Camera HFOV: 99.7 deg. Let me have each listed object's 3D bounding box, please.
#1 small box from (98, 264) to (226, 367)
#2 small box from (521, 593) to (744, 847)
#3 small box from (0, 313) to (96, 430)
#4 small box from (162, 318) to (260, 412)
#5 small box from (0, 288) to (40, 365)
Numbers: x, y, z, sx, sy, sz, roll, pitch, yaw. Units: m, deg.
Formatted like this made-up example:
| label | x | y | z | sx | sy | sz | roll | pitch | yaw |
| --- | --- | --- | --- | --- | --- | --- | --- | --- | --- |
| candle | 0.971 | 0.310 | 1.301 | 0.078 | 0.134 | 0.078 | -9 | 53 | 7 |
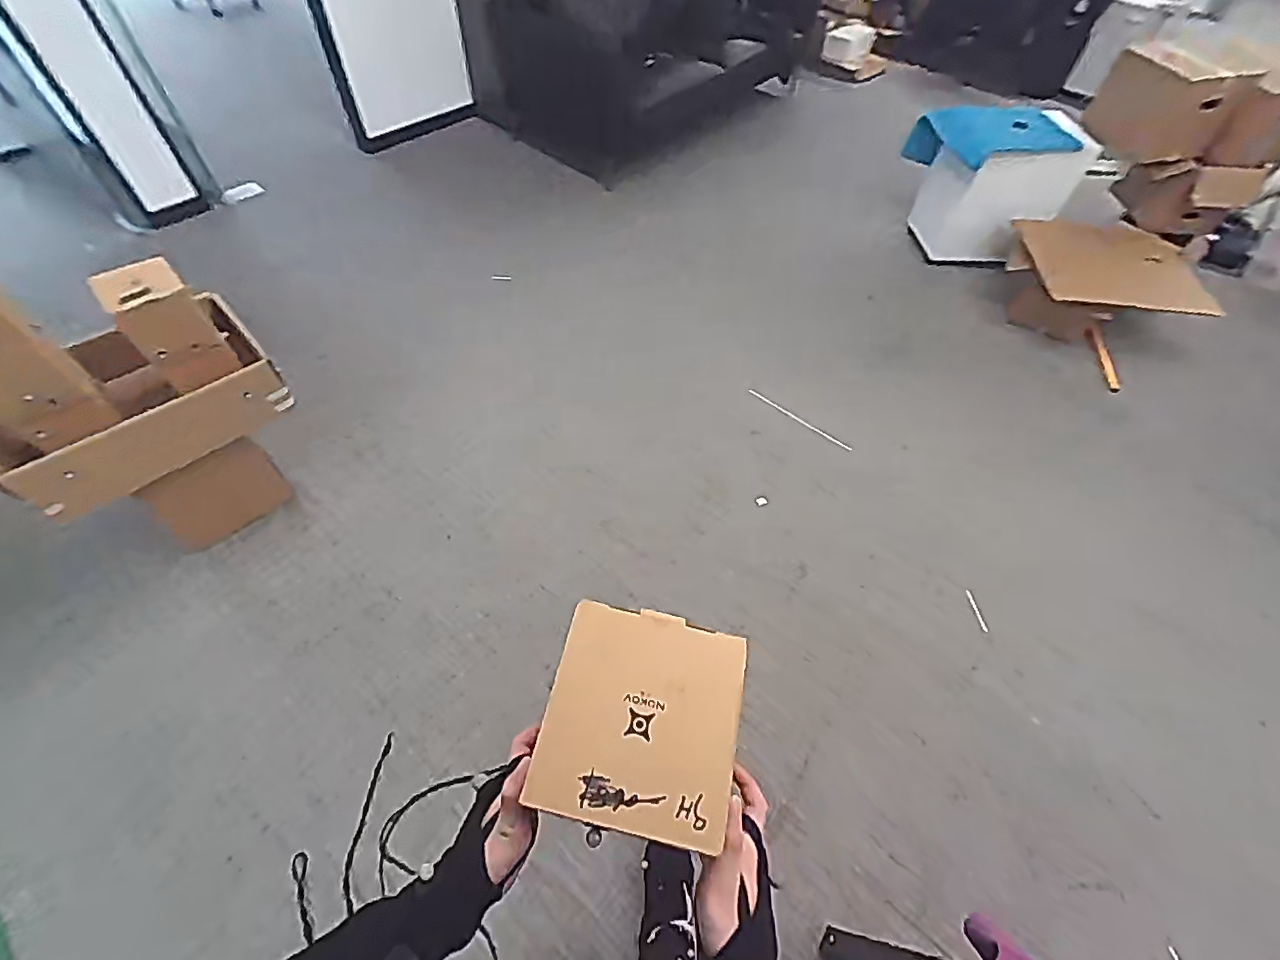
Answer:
| label | x | y | z | sx | sy | sz | roll | pitch | yaw |
| --- | --- | --- | --- | --- | --- | --- | --- | --- | --- |
| small box | -1.216 | -0.414 | 1.388 | 0.168 | 0.176 | 0.179 | -35 | 64 | -25 |
| small box | -0.004 | 0.239 | 0.533 | 0.168 | 0.176 | 0.179 | 12 | 57 | 5 |
| small box | -1.437 | -0.248 | 1.257 | 0.168 | 0.176 | 0.179 | -35 | 63 | -24 |
| small box | -1.227 | -0.325 | 1.526 | 0.168 | 0.176 | 0.179 | -37 | 65 | -26 |
| small box | -1.429 | -0.343 | 1.125 | 0.168 | 0.176 | 0.179 | -36 | 64 | -24 |
